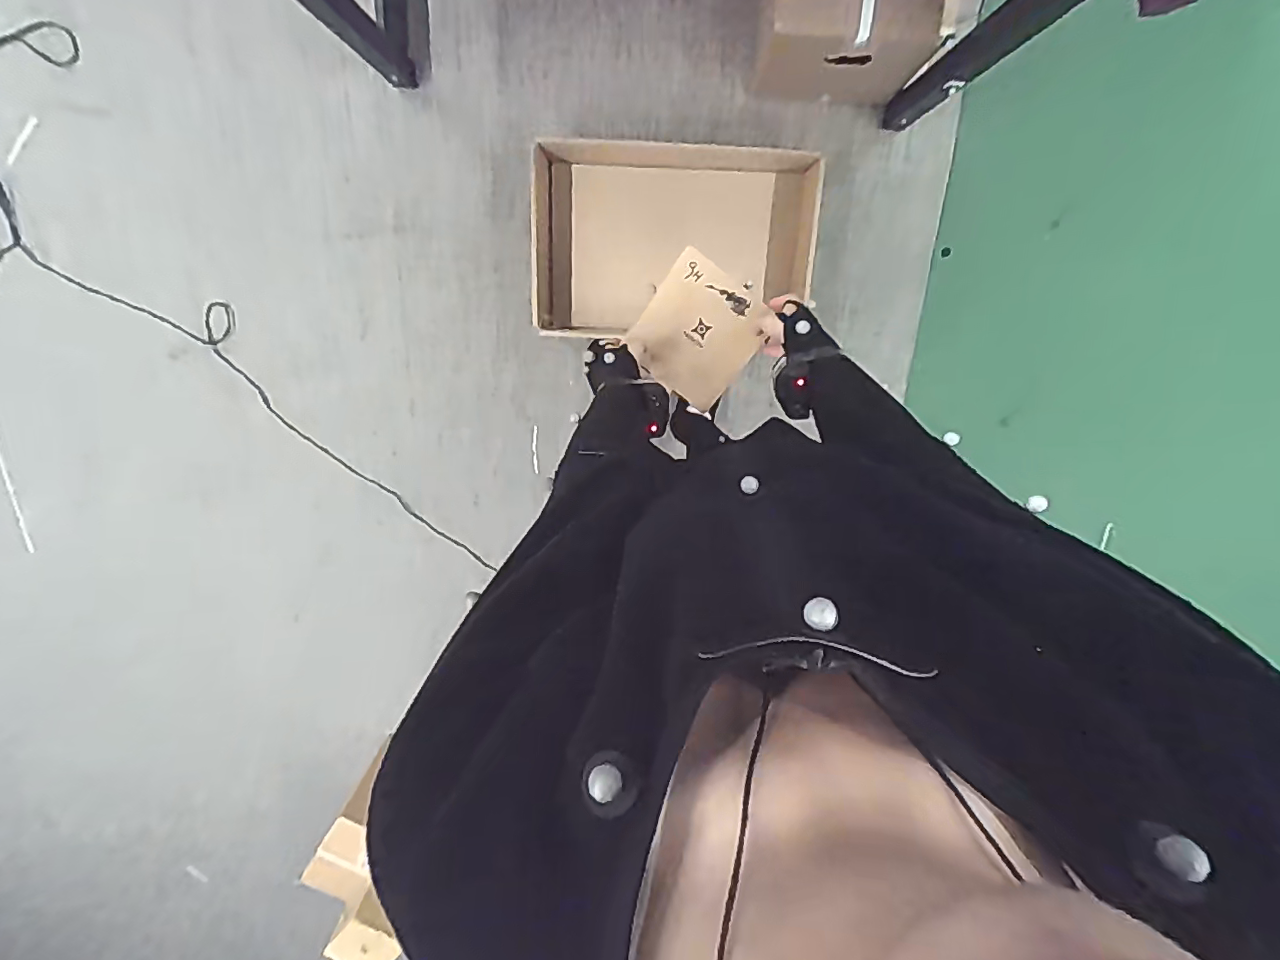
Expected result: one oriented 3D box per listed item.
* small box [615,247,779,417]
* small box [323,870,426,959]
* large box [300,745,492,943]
[{"bbox_3d":[0.088,-0.229,0.829,0.168,0.176,0.179,37,111,-8],"label":"small box"},{"bbox_3d":[-0.726,1.240,1.494,0.168,0.176,0.179,36,105,-9],"label":"small box"},{"bbox_3d":[-0.752,1.140,1.719,0.408,0.320,0.320,32,104,-7],"label":"large box"}]
